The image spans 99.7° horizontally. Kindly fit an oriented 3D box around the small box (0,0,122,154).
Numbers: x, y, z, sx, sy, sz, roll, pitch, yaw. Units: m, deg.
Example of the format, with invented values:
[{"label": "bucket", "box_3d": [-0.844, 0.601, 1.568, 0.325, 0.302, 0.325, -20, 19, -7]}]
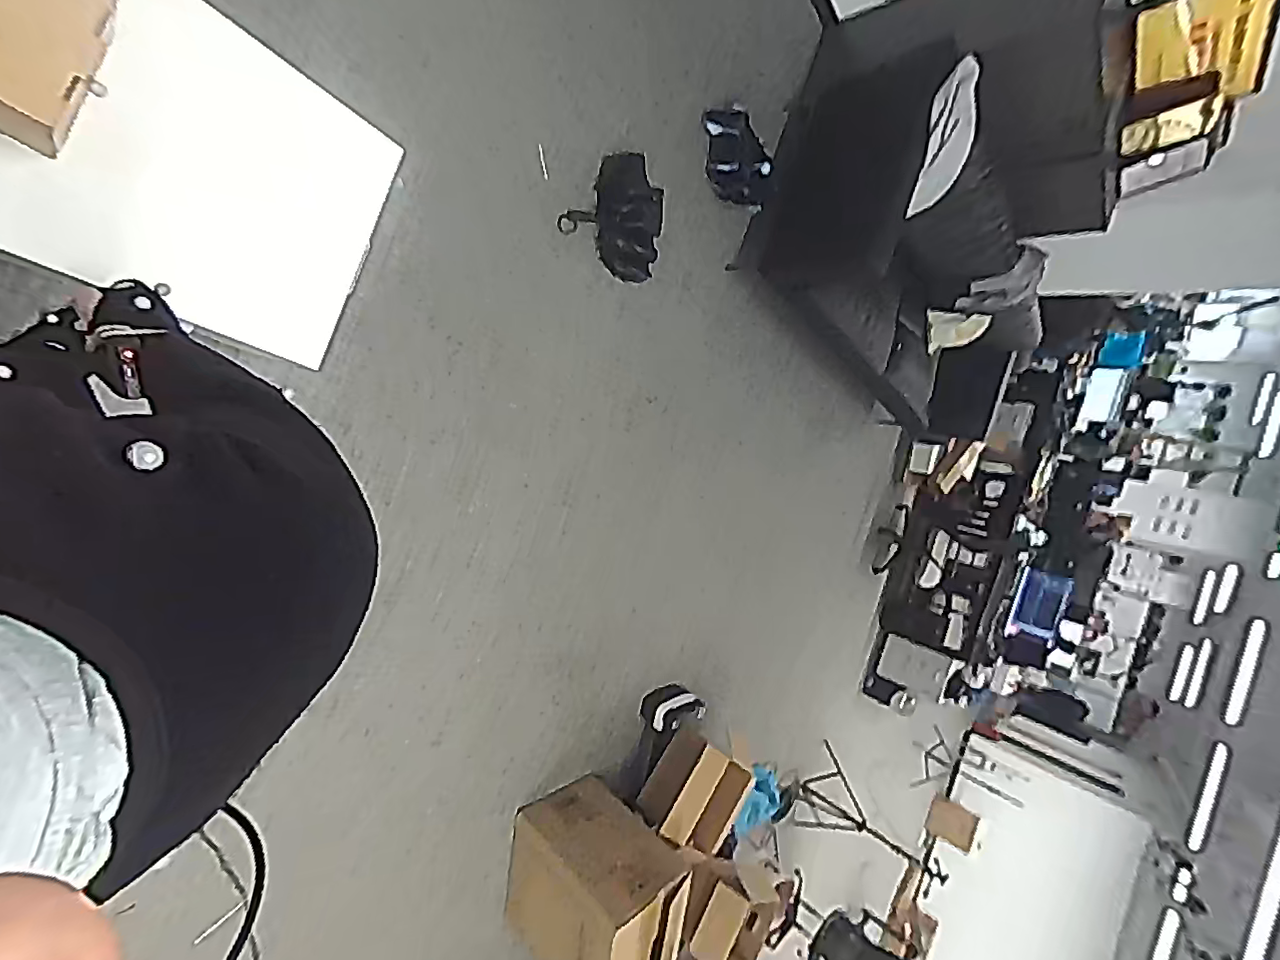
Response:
[{"label": "small box", "box_3d": [-0.654, -0.449, 0.522, 0.179, 0.176, 0.168, 24, 85, -48]}]
